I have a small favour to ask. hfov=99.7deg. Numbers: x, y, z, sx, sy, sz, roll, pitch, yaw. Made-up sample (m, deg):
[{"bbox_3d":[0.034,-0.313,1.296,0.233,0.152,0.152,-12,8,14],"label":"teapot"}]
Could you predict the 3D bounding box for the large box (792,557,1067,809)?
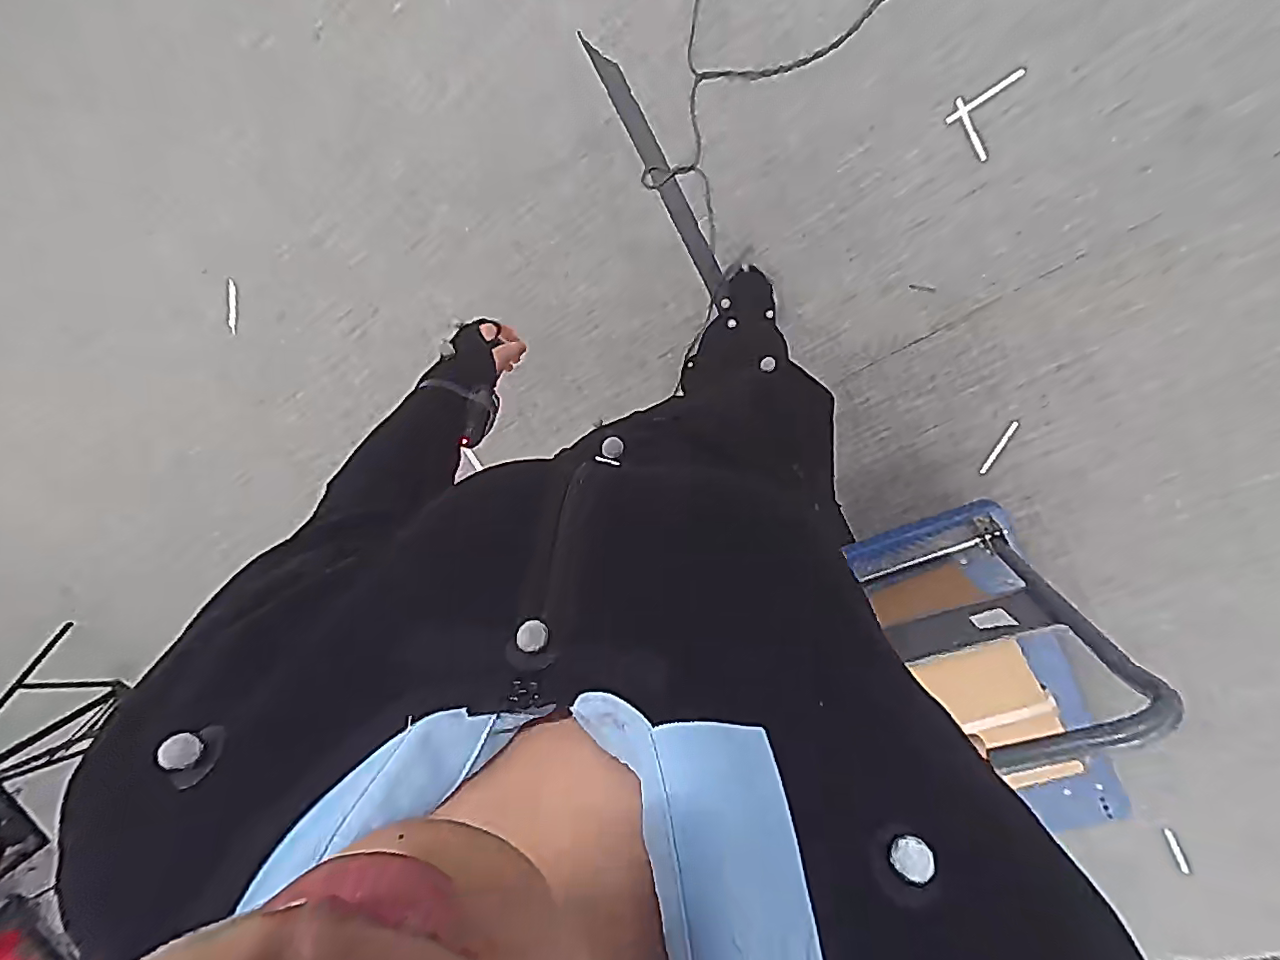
[{"bbox_3d":[0.587,0.429,1.184,0.408,0.320,0.320,-29,97,20],"label":"large box"}]
